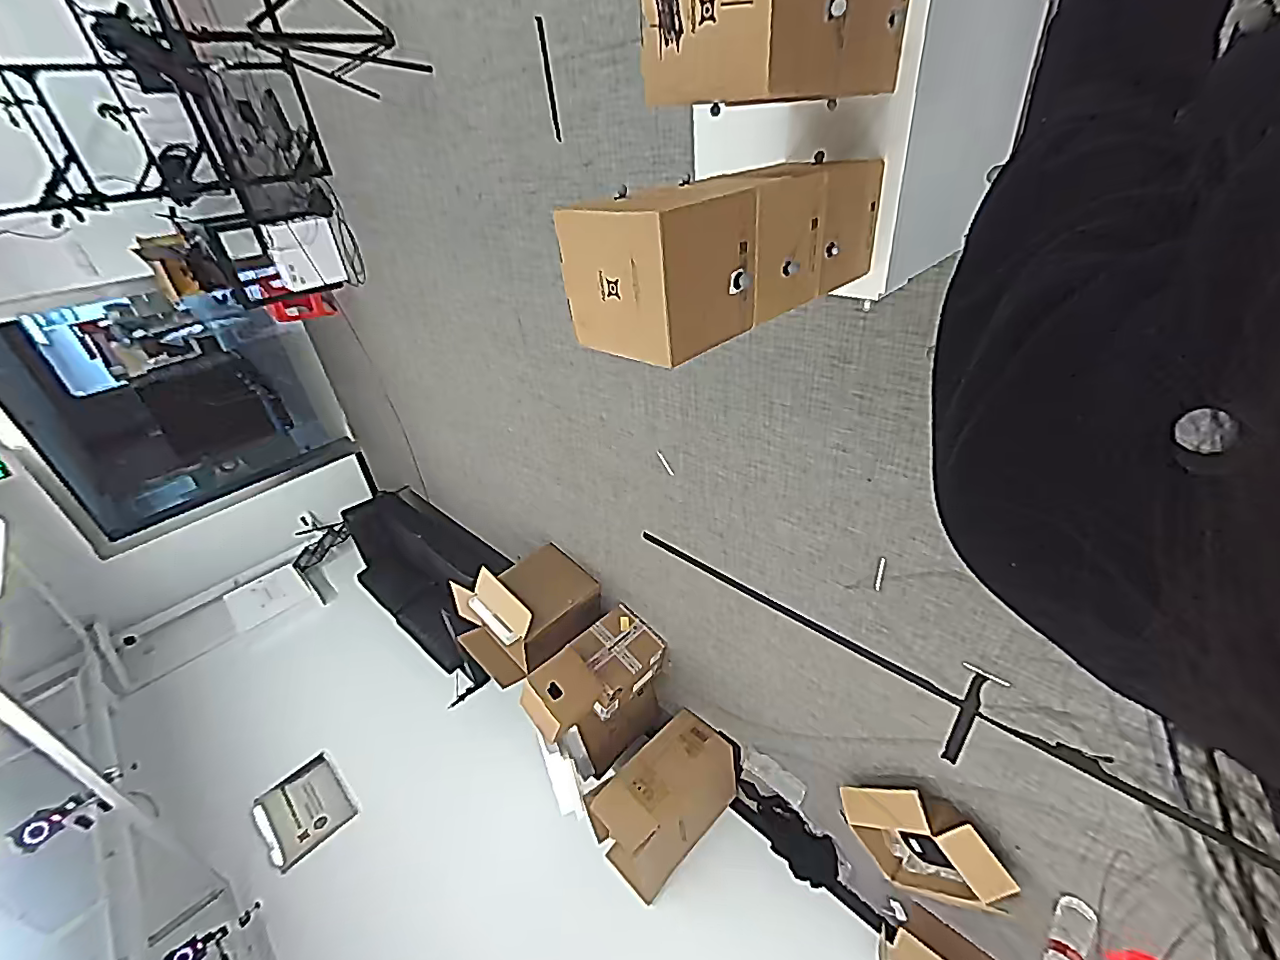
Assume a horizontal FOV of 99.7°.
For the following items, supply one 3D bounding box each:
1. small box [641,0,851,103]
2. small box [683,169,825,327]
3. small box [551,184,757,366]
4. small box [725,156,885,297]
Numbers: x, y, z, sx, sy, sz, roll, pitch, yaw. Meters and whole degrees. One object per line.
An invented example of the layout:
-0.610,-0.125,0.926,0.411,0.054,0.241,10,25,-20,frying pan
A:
0.119,-0.531,0.610,0.179,0.176,0.168,26,136,36,small box
0.136,-0.328,0.753,0.179,0.176,0.168,25,134,39,small box
0.021,-0.258,0.663,0.179,0.176,0.168,24,134,39,small box
0.249,-0.401,0.845,0.179,0.176,0.168,27,136,39,small box
